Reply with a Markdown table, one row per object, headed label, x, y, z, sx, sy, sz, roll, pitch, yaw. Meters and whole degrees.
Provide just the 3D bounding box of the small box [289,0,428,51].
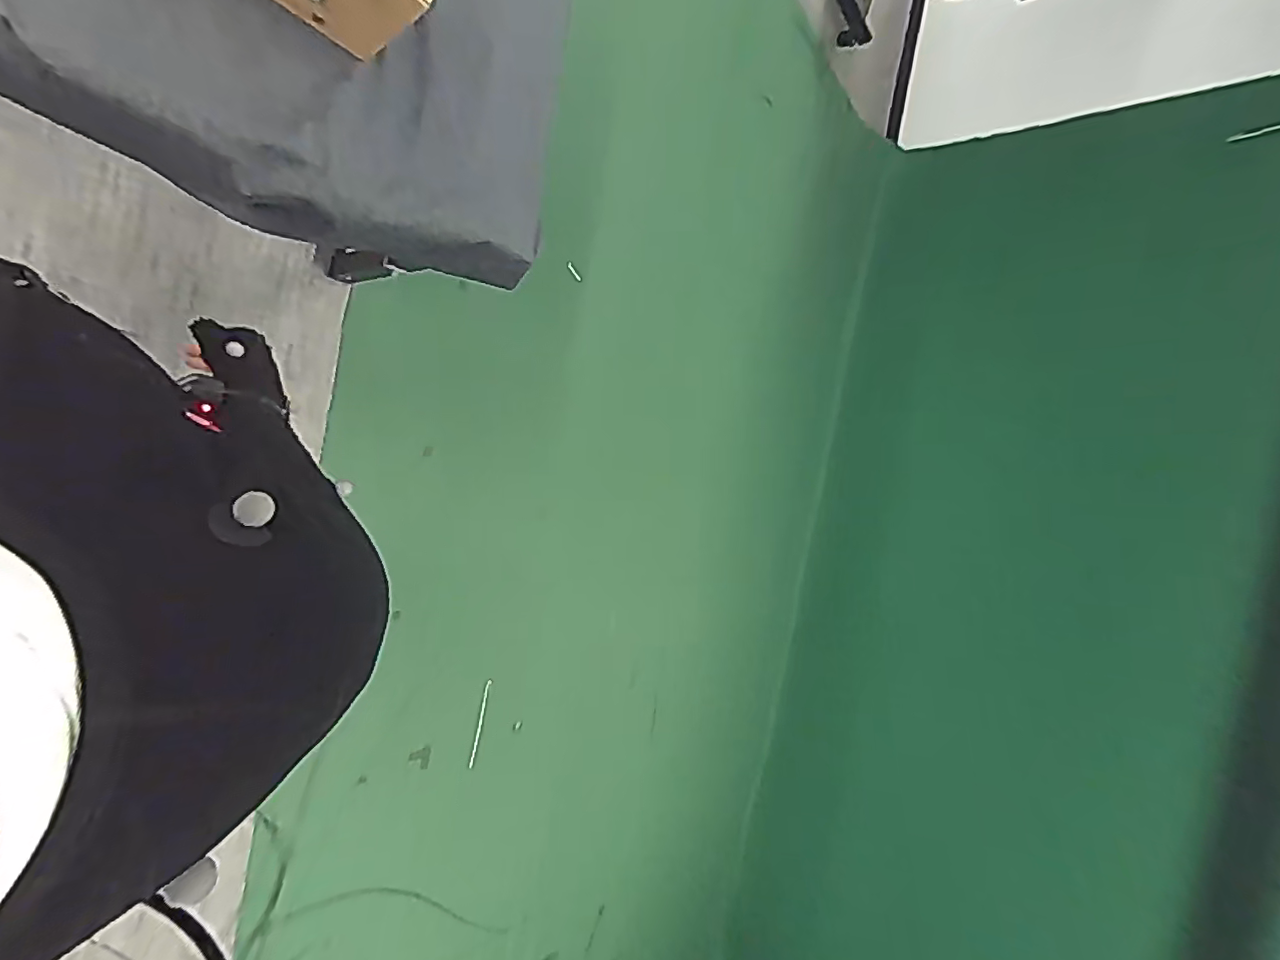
| label | x | y | z | sx | sy | sz | roll | pitch | yaw |
| --- | --- | --- | --- | --- | --- | --- | --- | --- | --- |
| small box | -0.316 | -0.599 | 0.555 | 0.168 | 0.176 | 0.179 | 10 | 93 | -50 |
